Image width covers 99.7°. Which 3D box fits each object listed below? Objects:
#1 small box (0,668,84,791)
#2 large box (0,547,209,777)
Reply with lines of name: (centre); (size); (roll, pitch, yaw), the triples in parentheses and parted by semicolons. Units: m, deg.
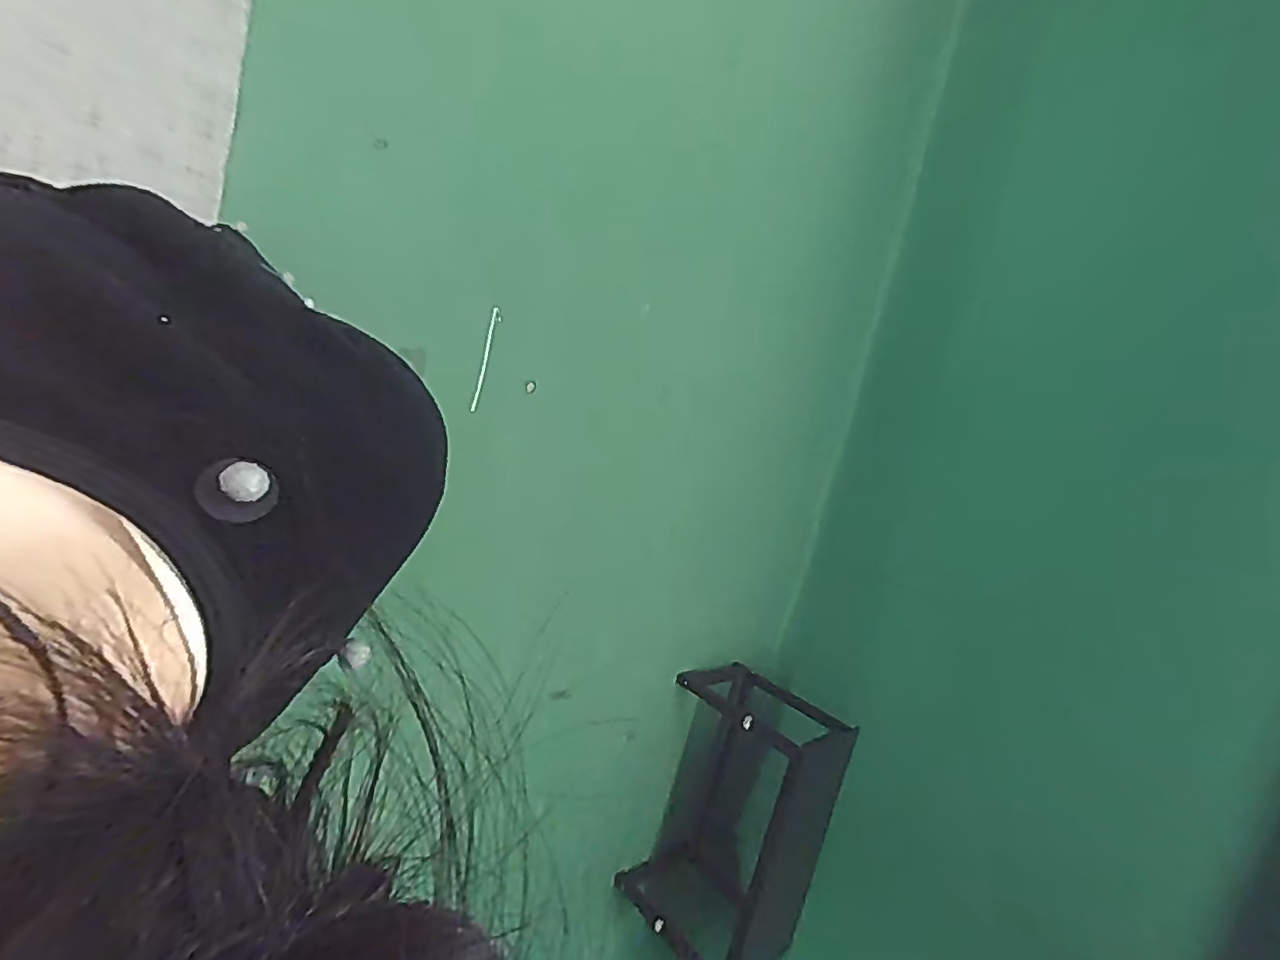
small box: (-0.973, 0.409, 0.816); (0.168, 0.176, 0.179); (-11, 111, -42)
large box: (-1.111, 0.356, 1.016); (0.408, 0.320, 0.320); (-12, 114, -43)
